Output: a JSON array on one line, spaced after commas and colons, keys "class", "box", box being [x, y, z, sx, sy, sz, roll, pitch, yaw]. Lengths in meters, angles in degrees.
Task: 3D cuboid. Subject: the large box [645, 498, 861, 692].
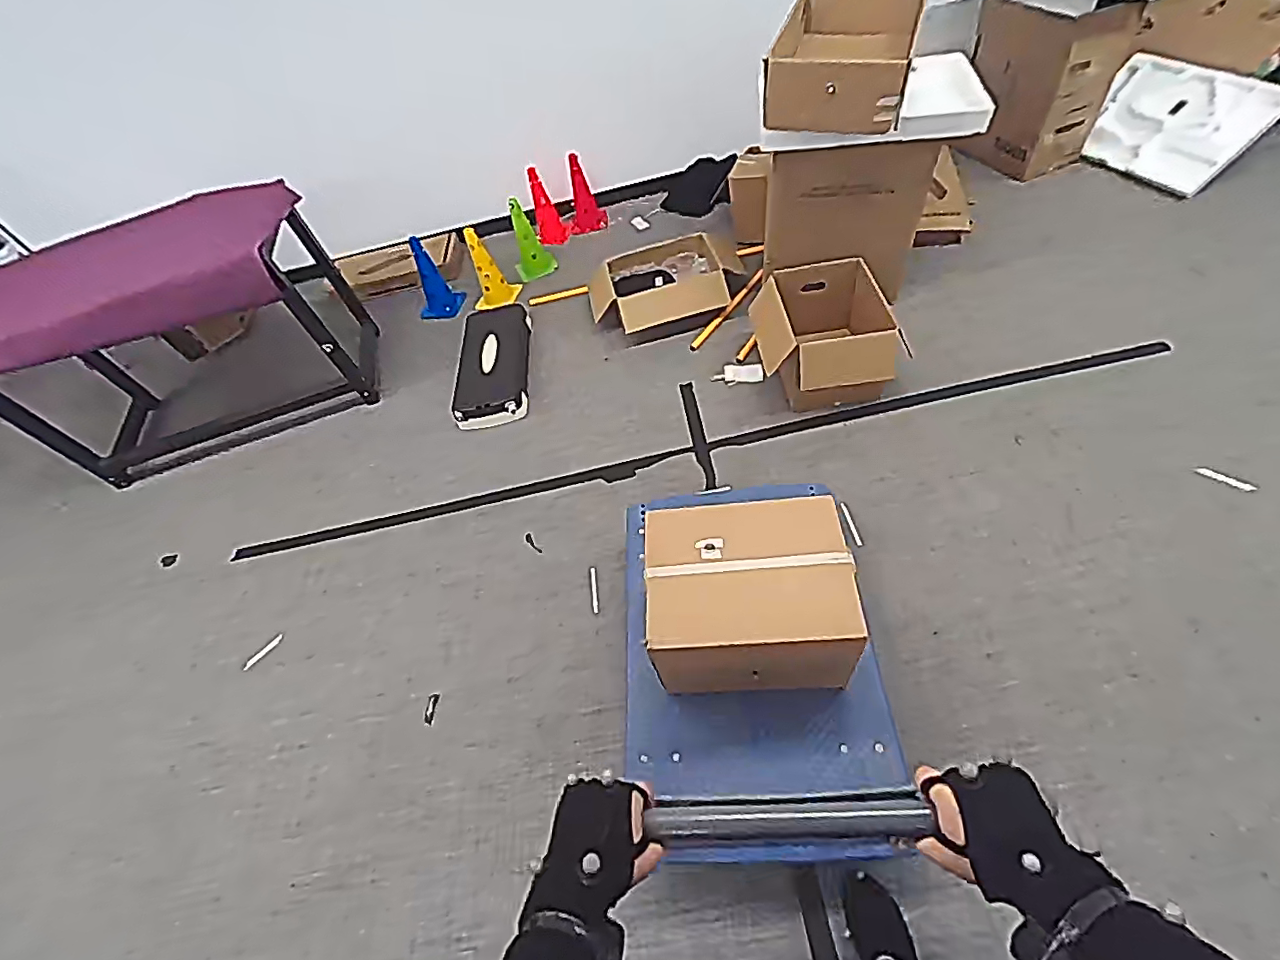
[{"class": "large box", "box": [0.239, 0.272, 1.222, 0.408, 0.320, 0.320, -7, 52, 8]}]
